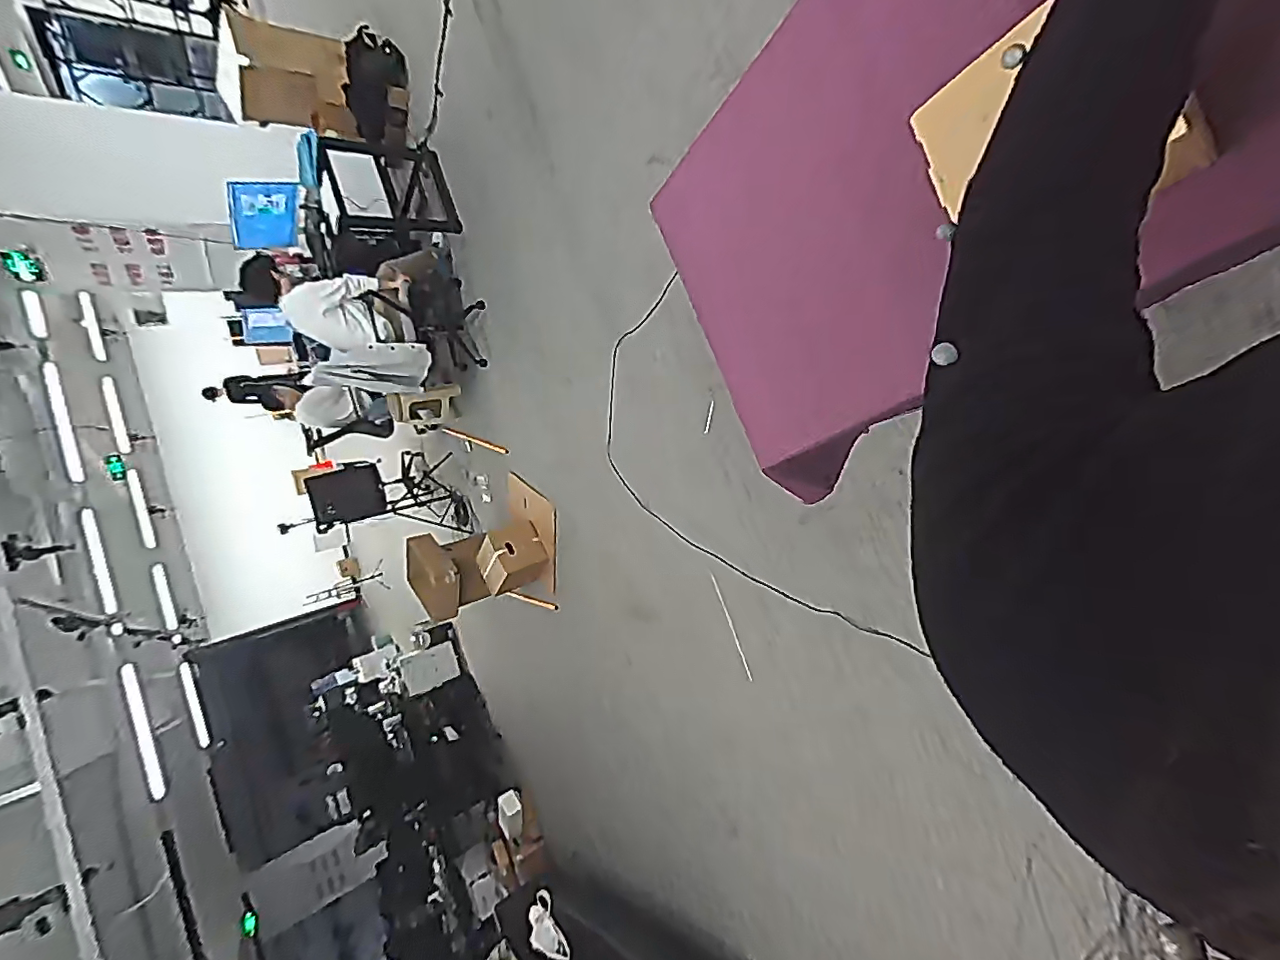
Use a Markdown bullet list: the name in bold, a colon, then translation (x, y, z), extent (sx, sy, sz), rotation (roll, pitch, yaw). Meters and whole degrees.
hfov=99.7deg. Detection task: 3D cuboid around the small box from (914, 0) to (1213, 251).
- **small box**: translation (0.425, -0.353, 0.551), extent (0.179, 0.176, 0.168), rotation (-25, 83, 53)
